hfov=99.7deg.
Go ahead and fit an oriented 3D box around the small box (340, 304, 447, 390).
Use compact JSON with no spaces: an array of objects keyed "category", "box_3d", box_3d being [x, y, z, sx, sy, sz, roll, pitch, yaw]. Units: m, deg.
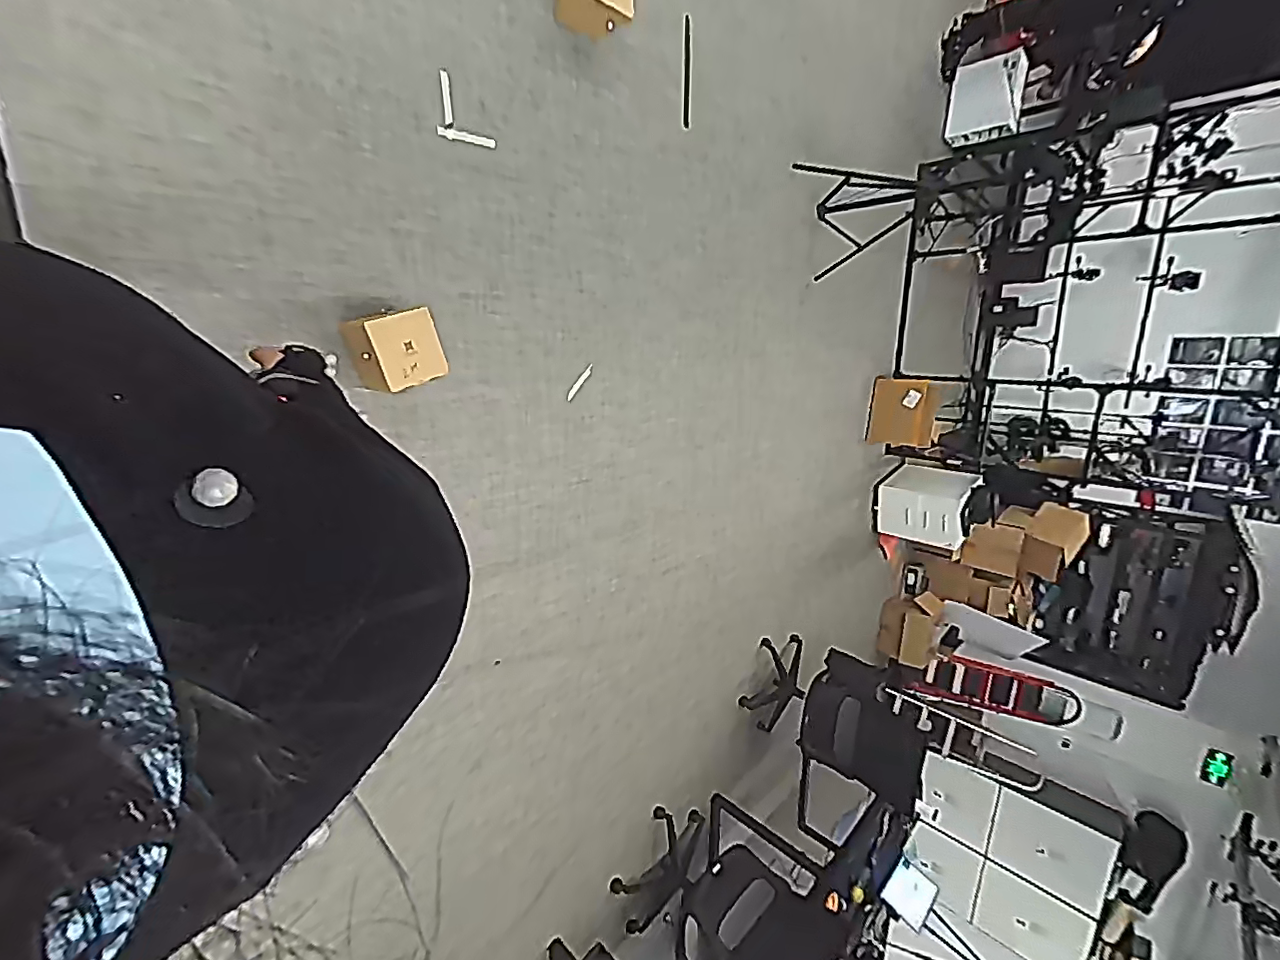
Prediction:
[{"category":"small box","box_3d":[-0.631,-0.341,1.381,0.168,0.176,0.179,-32,122,-37]}]
